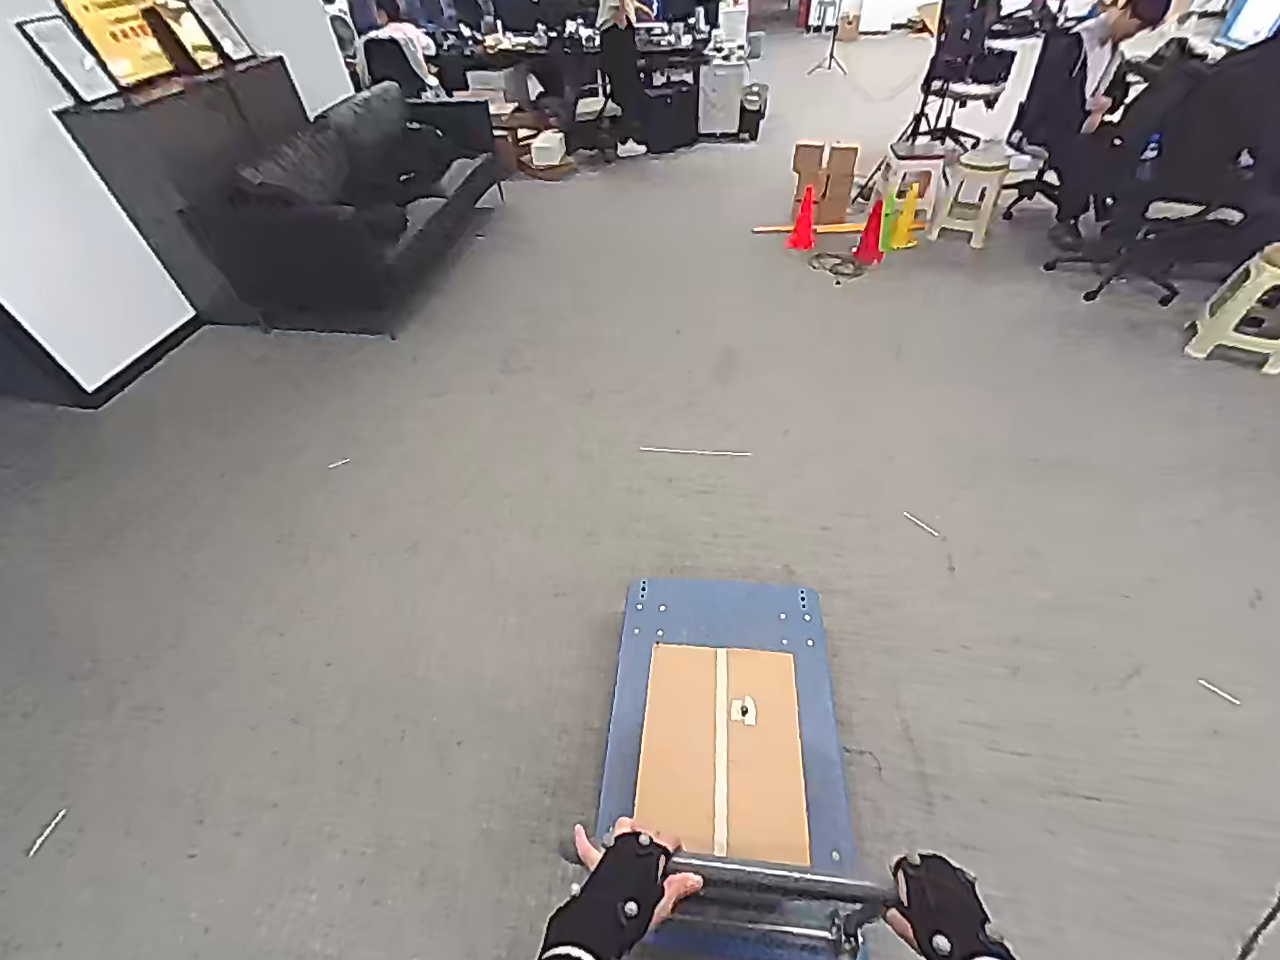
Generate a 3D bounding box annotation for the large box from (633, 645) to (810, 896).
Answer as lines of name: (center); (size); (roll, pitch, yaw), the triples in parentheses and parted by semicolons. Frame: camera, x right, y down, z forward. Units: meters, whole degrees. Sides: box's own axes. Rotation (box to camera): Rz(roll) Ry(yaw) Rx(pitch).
large box: (0.166, 0.625, 1.178); (0.320, 0.320, 0.408); (2, 45, 6)
